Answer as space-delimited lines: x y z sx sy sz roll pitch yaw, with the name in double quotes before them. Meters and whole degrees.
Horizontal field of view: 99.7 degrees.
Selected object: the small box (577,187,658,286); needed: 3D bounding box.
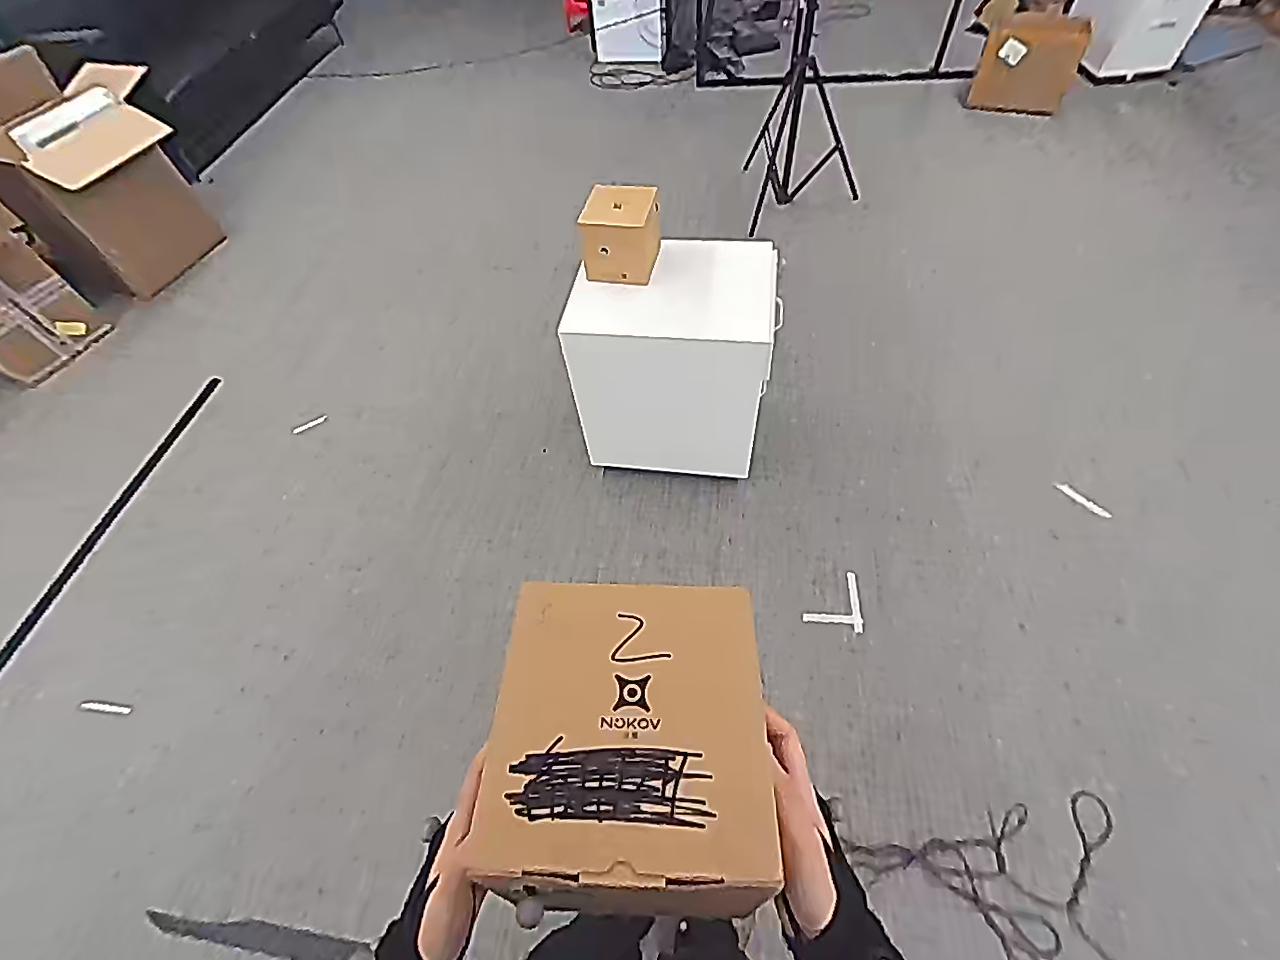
"small box" -0.048 -0.618 1.380 0.168 0.176 0.179 8 57 10
